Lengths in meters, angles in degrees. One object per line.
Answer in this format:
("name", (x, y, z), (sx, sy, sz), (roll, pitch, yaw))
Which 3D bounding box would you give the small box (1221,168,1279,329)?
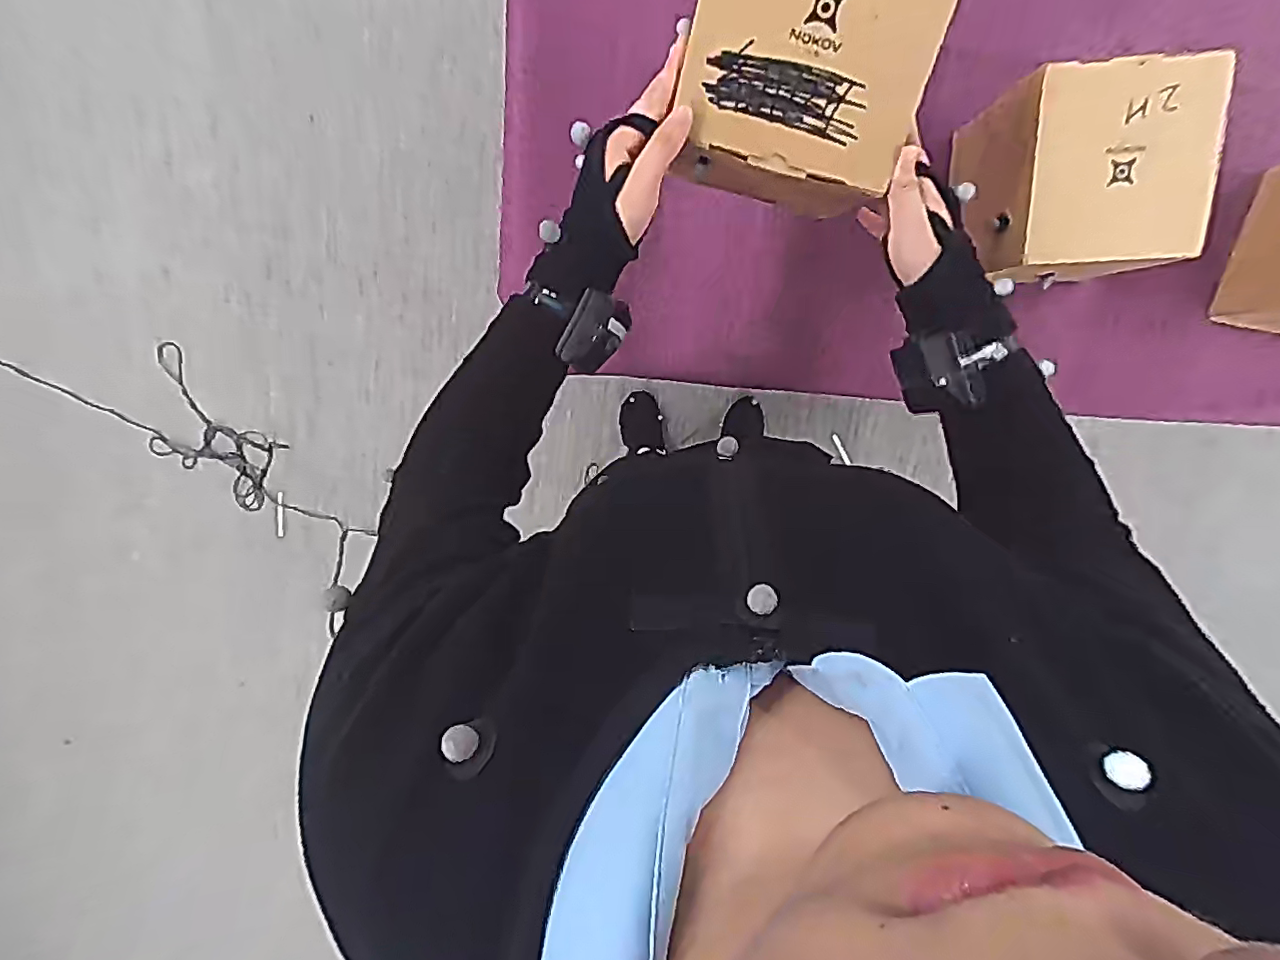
("small box", (0.797, -0.256, 0.572), (0.168, 0.176, 0.179), (12, 102, 1))

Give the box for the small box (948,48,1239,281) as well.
("small box", (0.456, -0.314, 0.580), (0.168, 0.176, 0.179), (-1, 102, 4))
